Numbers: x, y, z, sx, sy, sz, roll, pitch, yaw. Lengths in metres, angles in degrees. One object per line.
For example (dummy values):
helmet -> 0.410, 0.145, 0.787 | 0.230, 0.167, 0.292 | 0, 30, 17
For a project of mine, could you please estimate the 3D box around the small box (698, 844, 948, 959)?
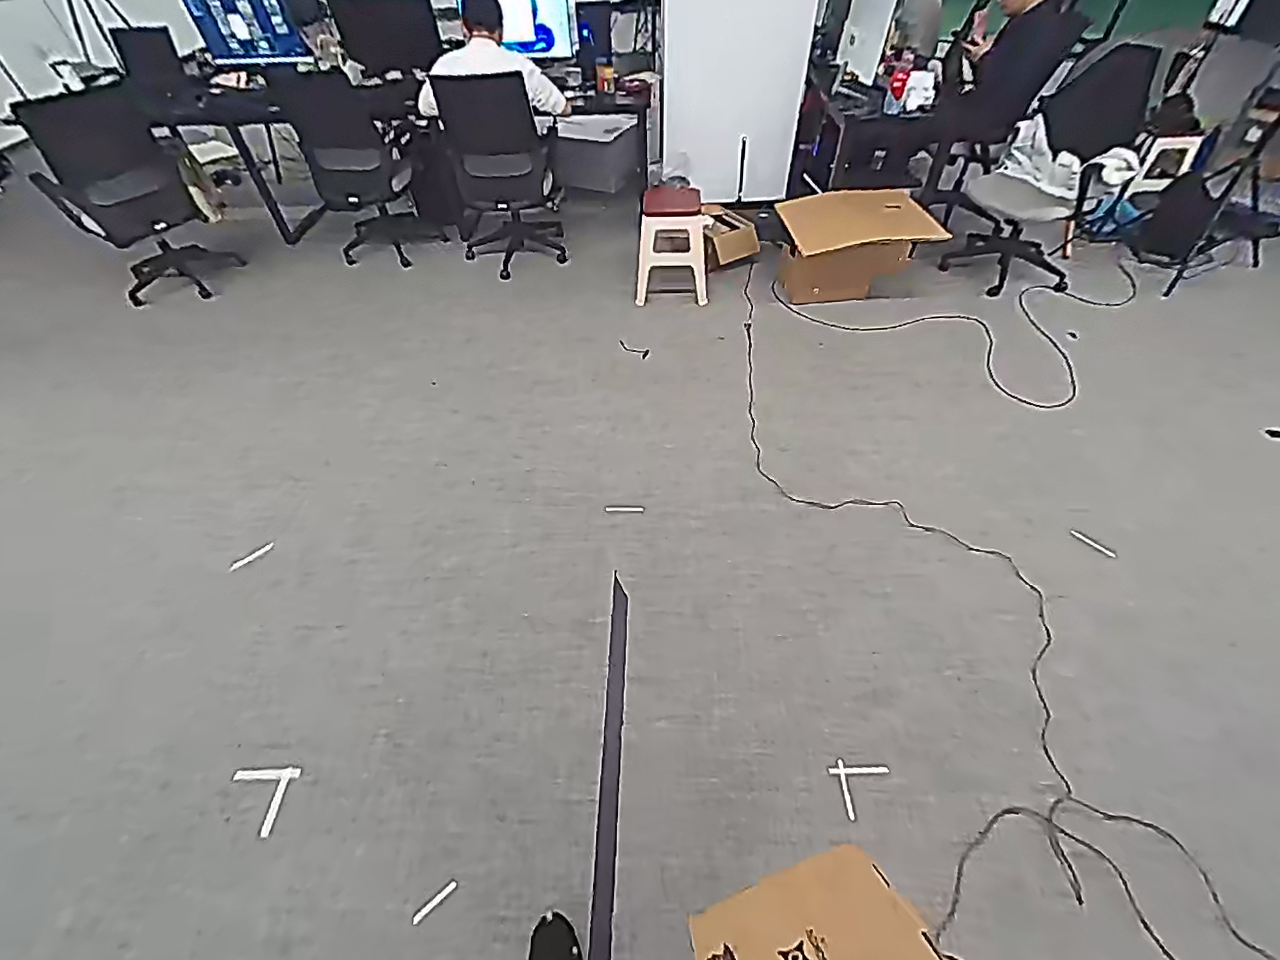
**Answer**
small box -> 0.167, 0.451, 0.431 | 0.179, 0.168, 0.176 | -21, 89, -4
